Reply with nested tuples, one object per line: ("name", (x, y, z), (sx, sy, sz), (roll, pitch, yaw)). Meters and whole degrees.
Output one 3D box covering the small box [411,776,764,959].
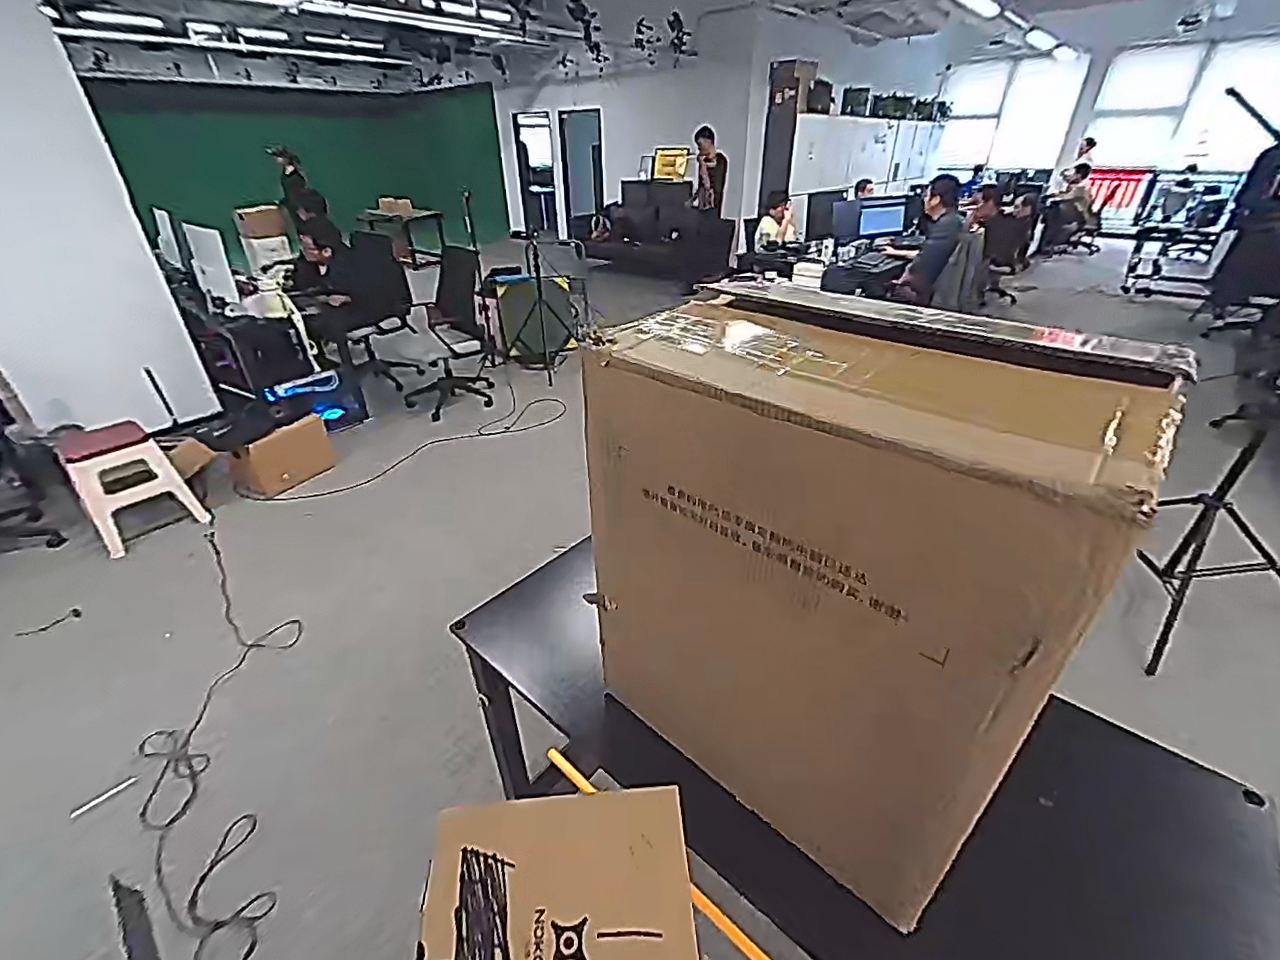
("small box", (-0.024, 0.297, 0.311), (0.179, 0.176, 0.168), (-4, 42, -4))
